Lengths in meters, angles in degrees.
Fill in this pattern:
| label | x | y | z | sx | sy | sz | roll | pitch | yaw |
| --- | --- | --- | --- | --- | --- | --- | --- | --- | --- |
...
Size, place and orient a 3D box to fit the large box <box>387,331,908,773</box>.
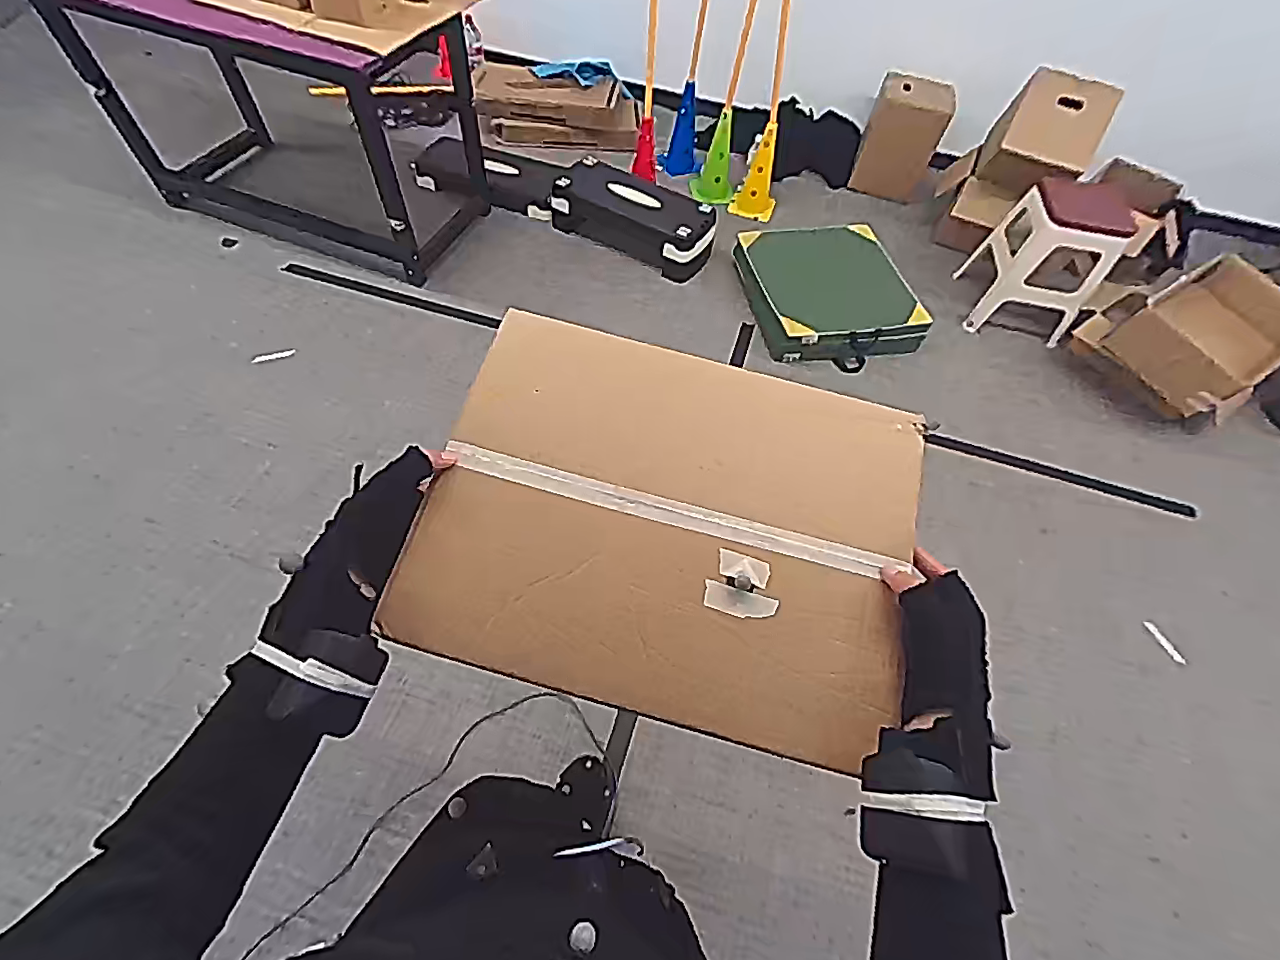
| label | x | y | z | sx | sy | sz | roll | pitch | yaw |
| --- | --- | --- | --- | --- | --- | --- | --- | --- | --- |
| large box | 0.017 | 0.090 | 0.605 | 0.408 | 0.320 | 0.320 | 15 | 70 | 2 |
